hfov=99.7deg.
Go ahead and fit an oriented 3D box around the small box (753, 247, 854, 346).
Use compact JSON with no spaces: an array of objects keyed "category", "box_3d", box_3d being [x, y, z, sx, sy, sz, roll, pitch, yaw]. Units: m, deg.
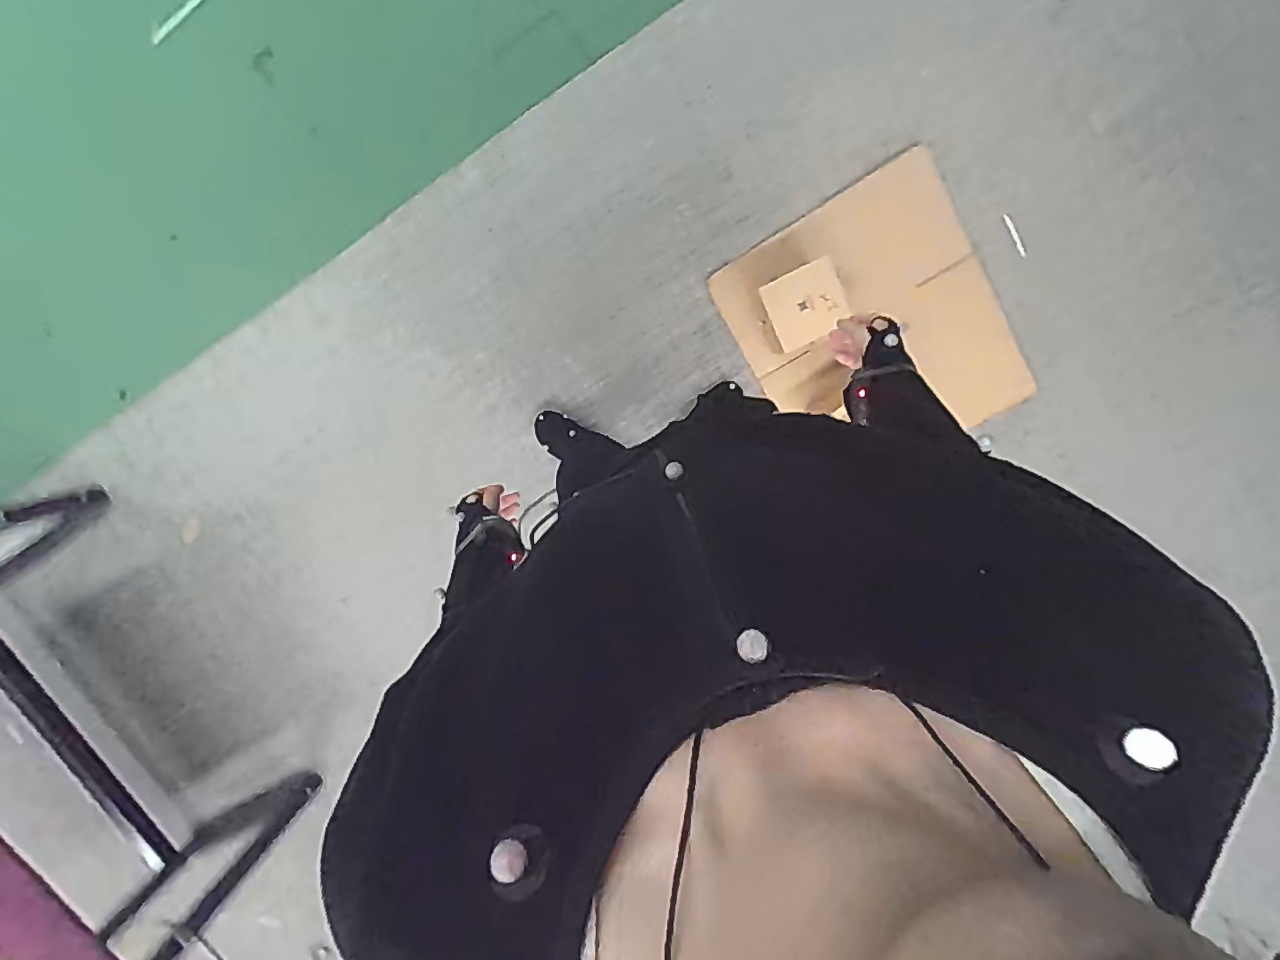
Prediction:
[{"category":"small box","box_3d":[0.384,-0.433,1.306,0.179,0.176,0.168,-24,101,8]}]
